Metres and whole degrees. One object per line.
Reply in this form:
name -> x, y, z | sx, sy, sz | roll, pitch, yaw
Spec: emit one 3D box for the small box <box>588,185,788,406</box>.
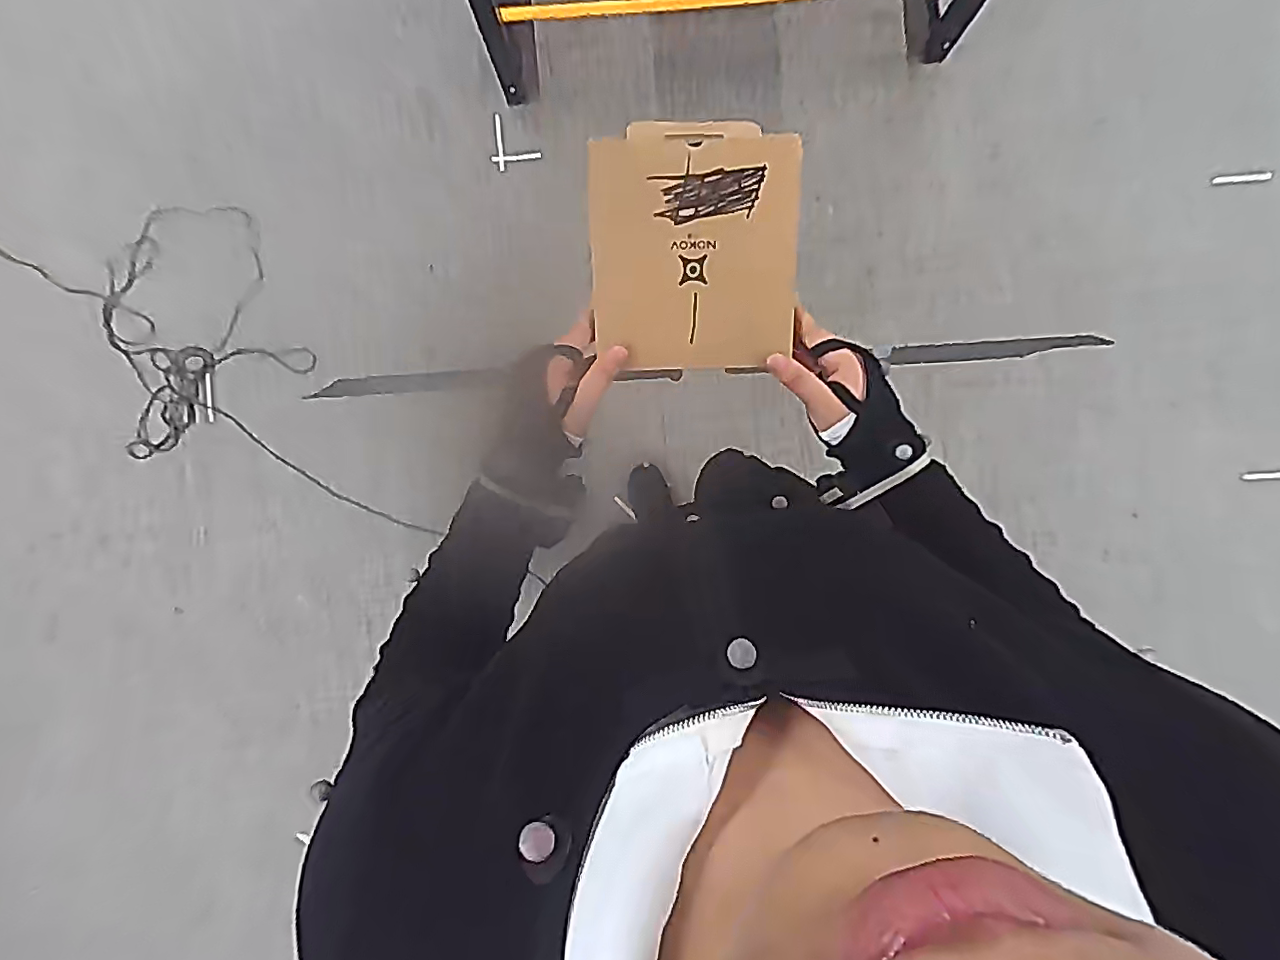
small box -> 0.035, -0.169, 0.527 | 0.168, 0.176, 0.179 | -1, 105, -2
